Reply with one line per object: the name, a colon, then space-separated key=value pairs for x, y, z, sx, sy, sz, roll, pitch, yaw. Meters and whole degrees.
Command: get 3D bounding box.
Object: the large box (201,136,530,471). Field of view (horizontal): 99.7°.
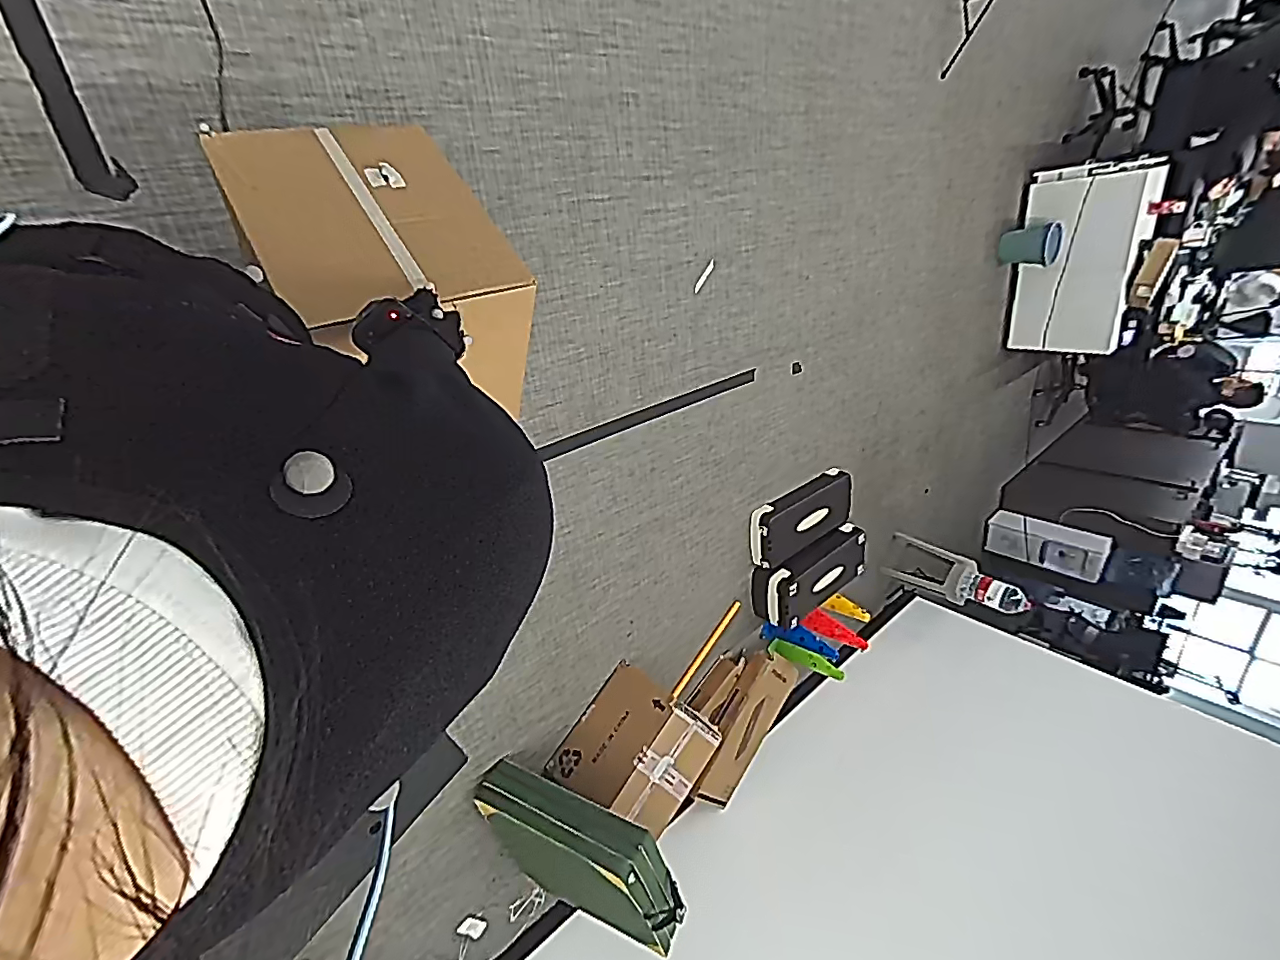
large box: x=-0.426 y=-0.292 z=0.892 sx=0.320 sy=0.408 sz=0.320 roll=-25 pitch=157 yaw=-31
